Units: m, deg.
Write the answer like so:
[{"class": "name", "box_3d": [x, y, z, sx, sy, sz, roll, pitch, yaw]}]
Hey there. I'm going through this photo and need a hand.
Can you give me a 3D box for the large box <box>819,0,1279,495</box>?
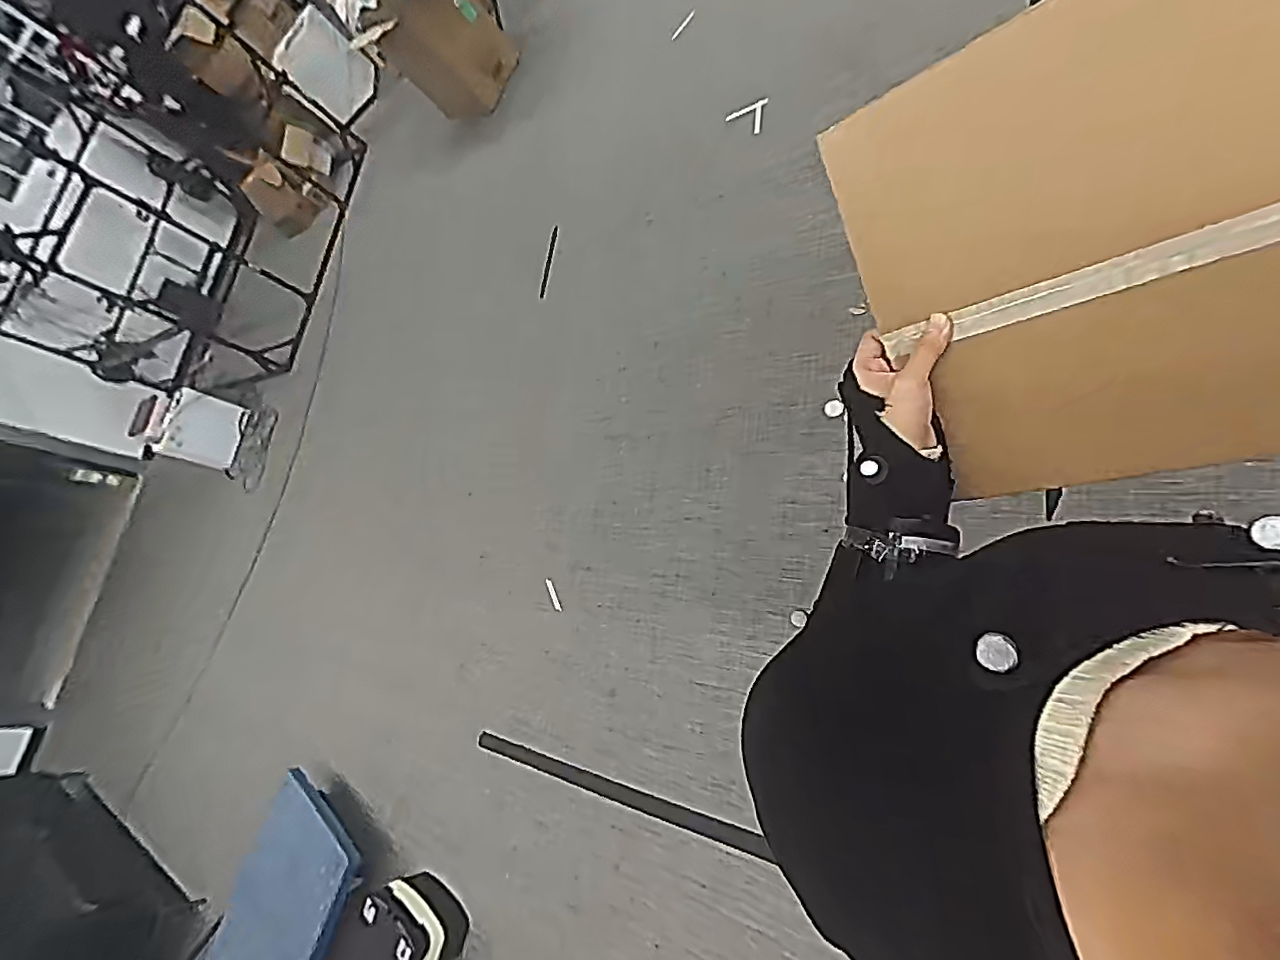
[{"class": "large box", "box_3d": [0.400, -0.229, 0.391, 0.408, 0.320, 0.320, -14, 25, 37]}]
